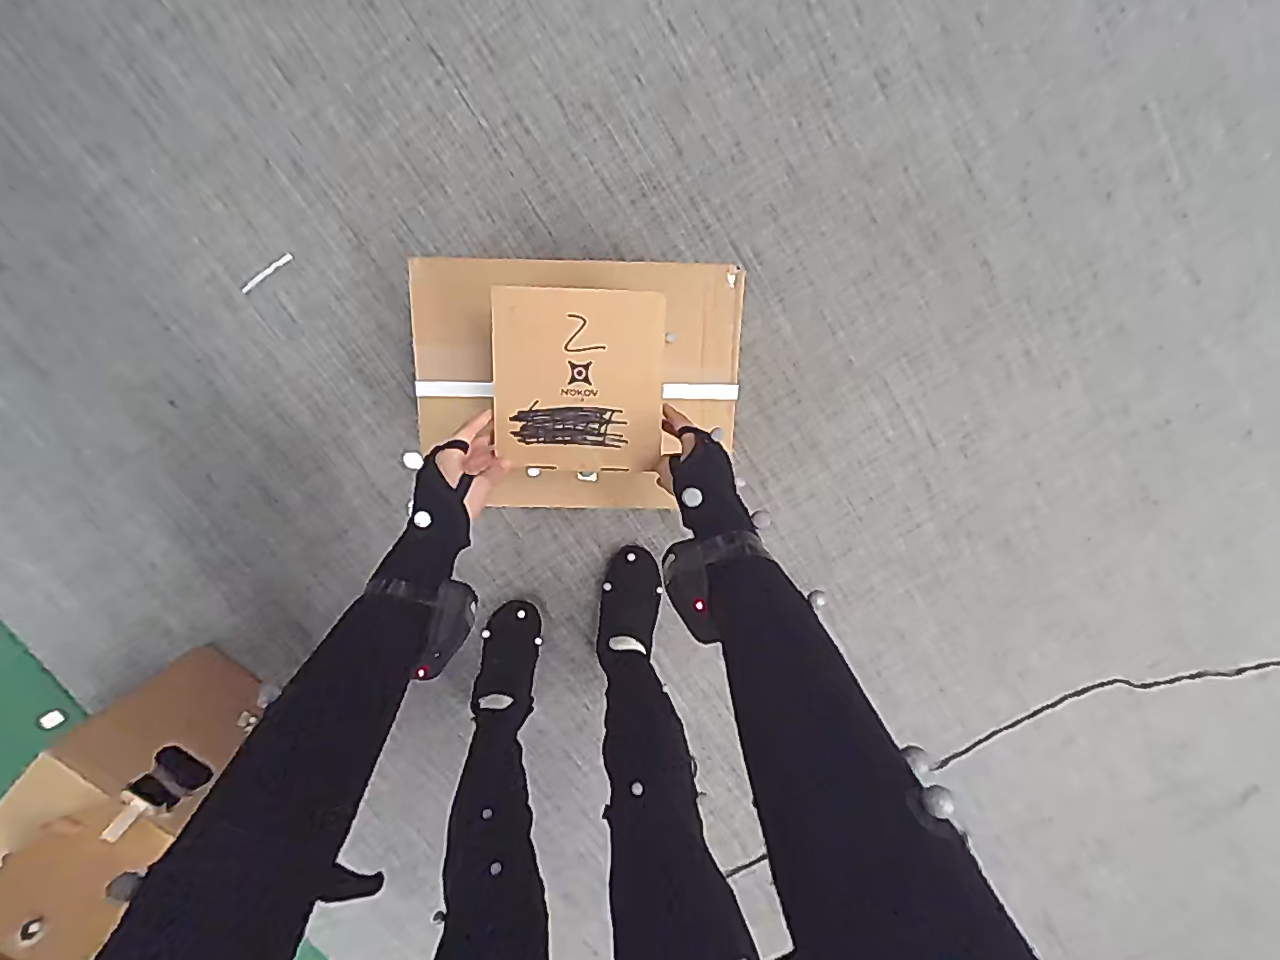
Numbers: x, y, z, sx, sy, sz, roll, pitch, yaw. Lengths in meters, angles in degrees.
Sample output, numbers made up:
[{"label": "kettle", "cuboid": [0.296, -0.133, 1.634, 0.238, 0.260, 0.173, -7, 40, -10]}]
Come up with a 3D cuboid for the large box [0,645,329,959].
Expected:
[{"label": "large box", "cuboid": [-0.878, 0.594, 0.986, 0.320, 0.320, 0.408, 42, 100, -7]}]

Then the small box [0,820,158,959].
[{"label": "small box", "cuboid": [-0.839, 0.621, 0.743, 0.179, 0.176, 0.168, 43, 98, -8]}]
